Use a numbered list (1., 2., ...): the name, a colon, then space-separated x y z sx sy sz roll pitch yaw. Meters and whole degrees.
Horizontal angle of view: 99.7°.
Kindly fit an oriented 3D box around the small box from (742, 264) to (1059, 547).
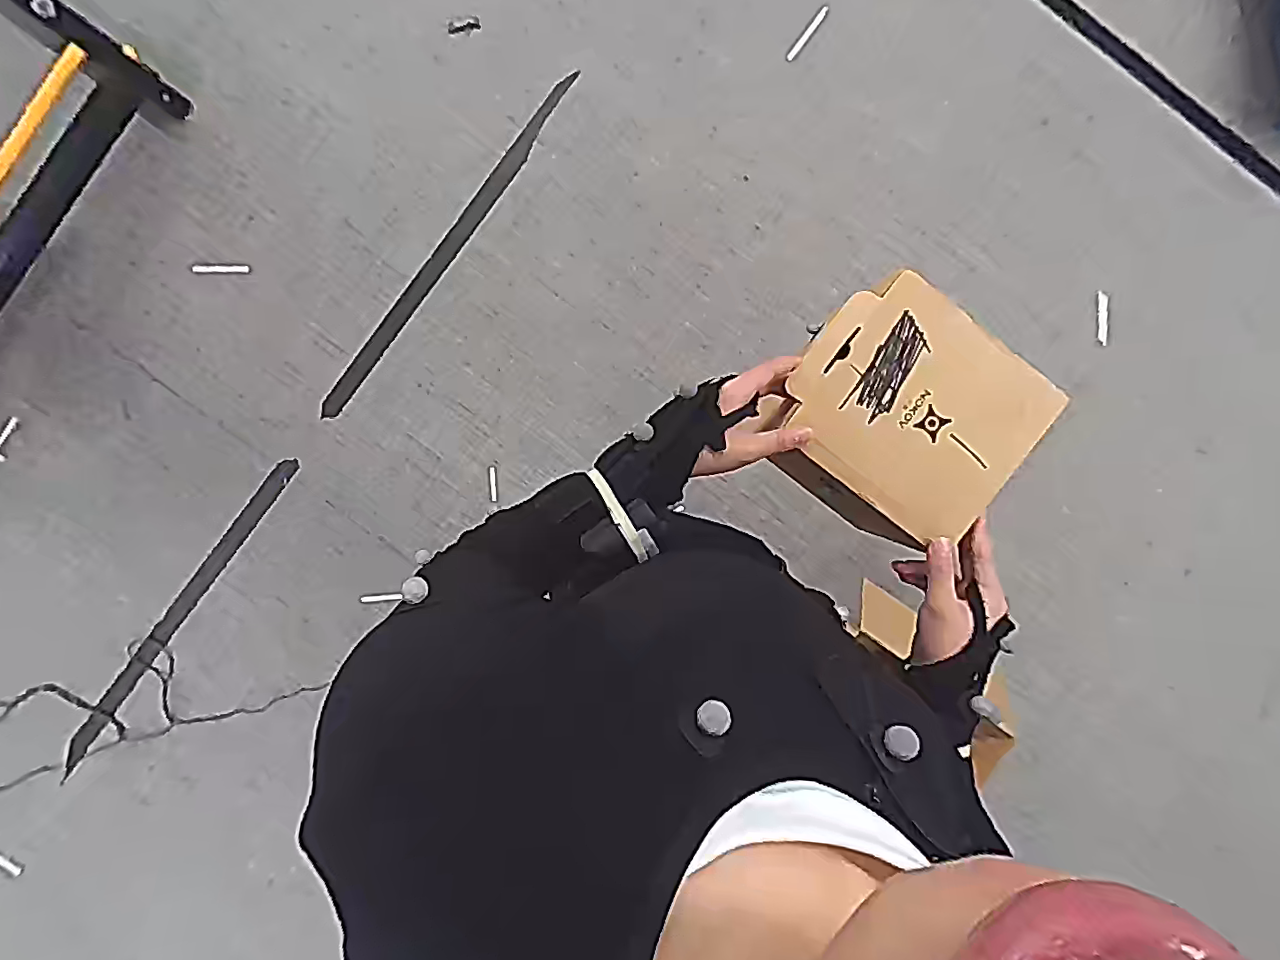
1. small box: 0.222 -0.063 0.515 0.179 0.176 0.168 37 93 -4
